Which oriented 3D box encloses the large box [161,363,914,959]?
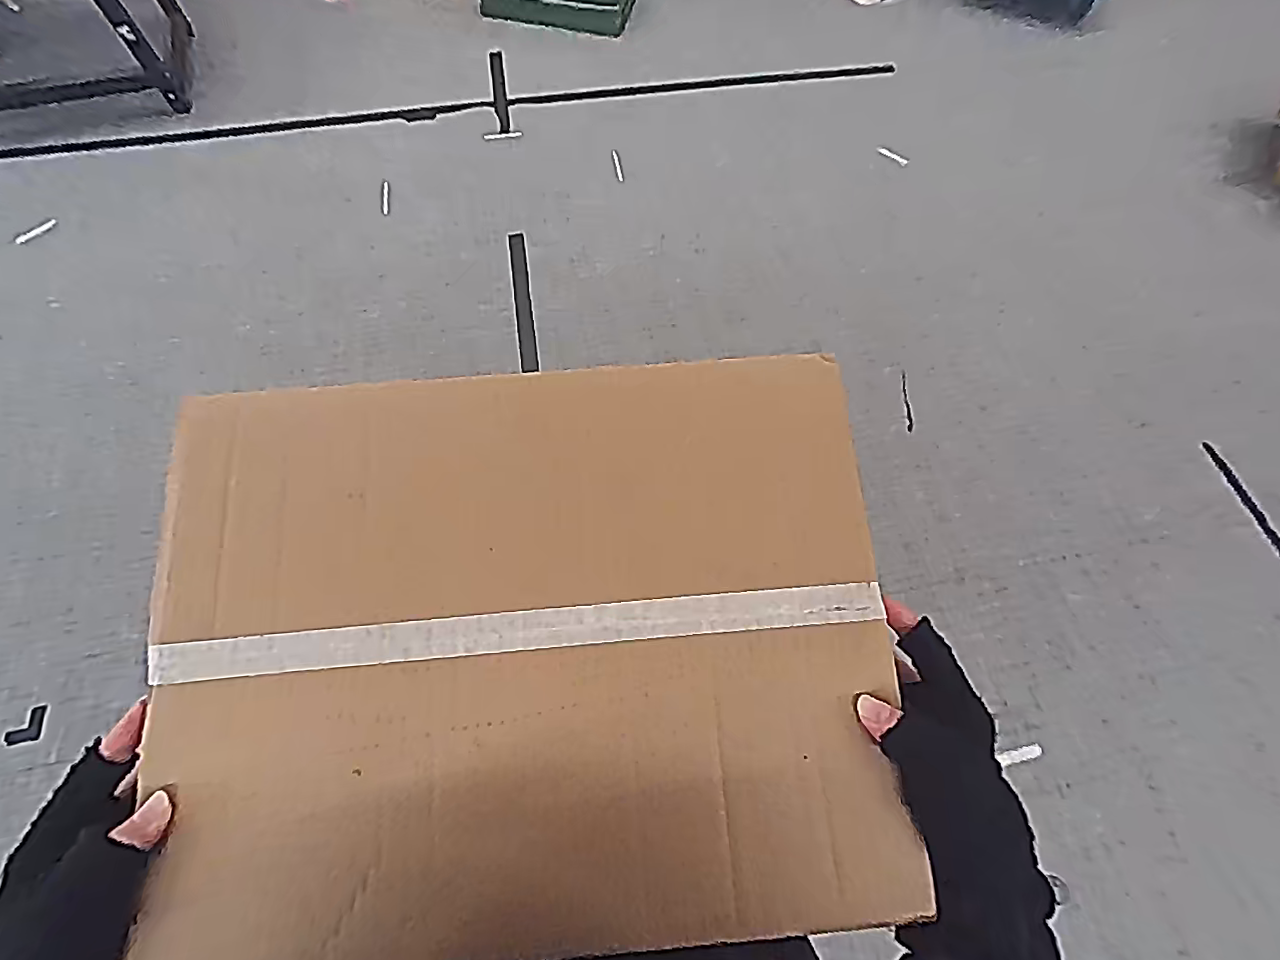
[{"bbox_3d":[-0.065,0.122,0.461,0.408,0.320,0.320,-4,77,-2],"label":"large box"}]
